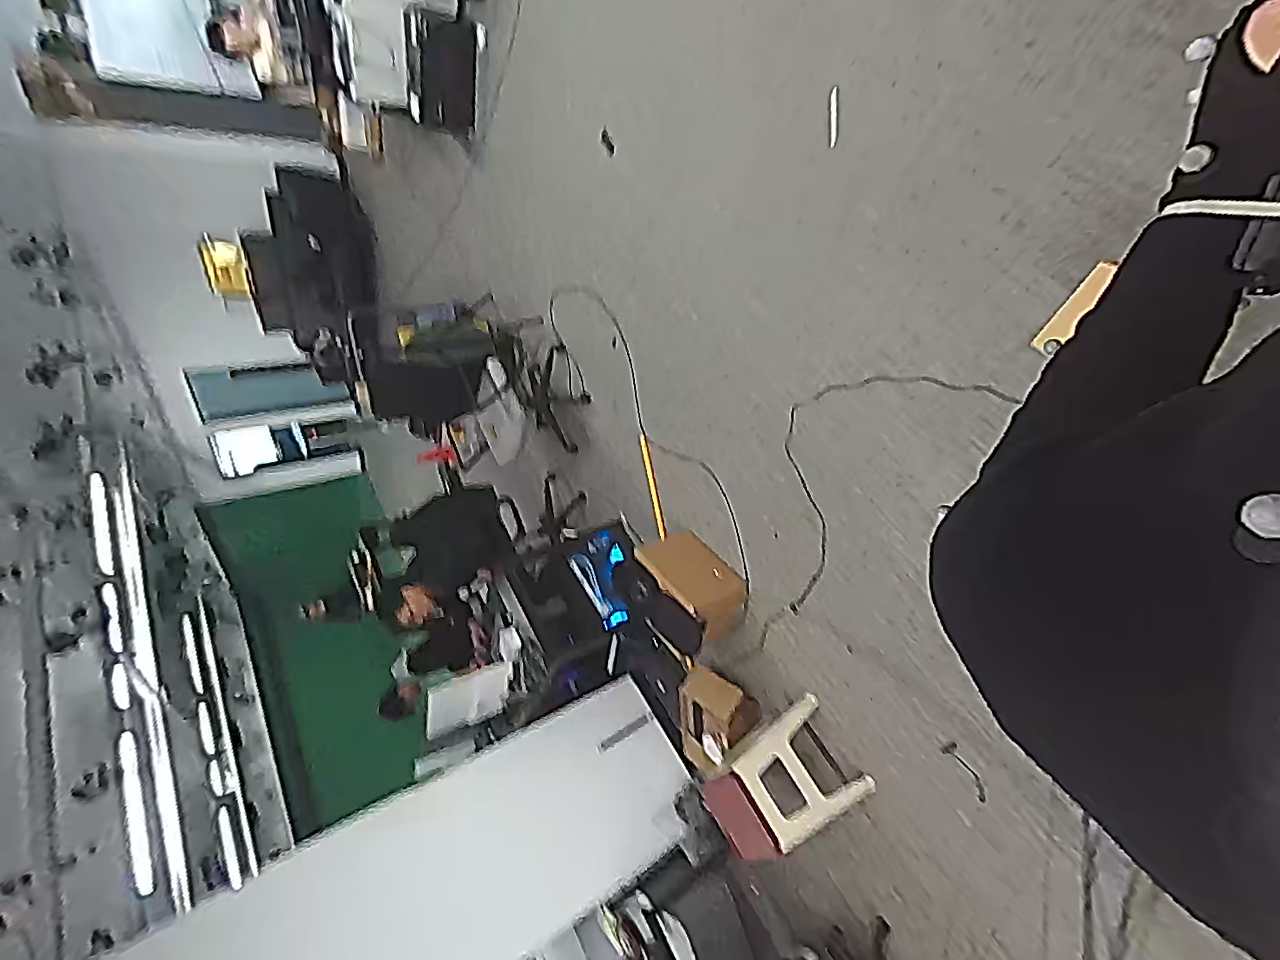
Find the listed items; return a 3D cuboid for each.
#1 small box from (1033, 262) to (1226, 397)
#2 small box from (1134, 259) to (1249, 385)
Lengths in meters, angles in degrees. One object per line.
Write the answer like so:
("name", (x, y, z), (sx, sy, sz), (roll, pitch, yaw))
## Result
("small box", (0.868, -0.273, 0.962), (0.179, 0.176, 0.168), (52, 139, 32))
("small box", (1.001, -0.308, 1.048), (0.179, 0.176, 0.168), (52, 141, 28))
